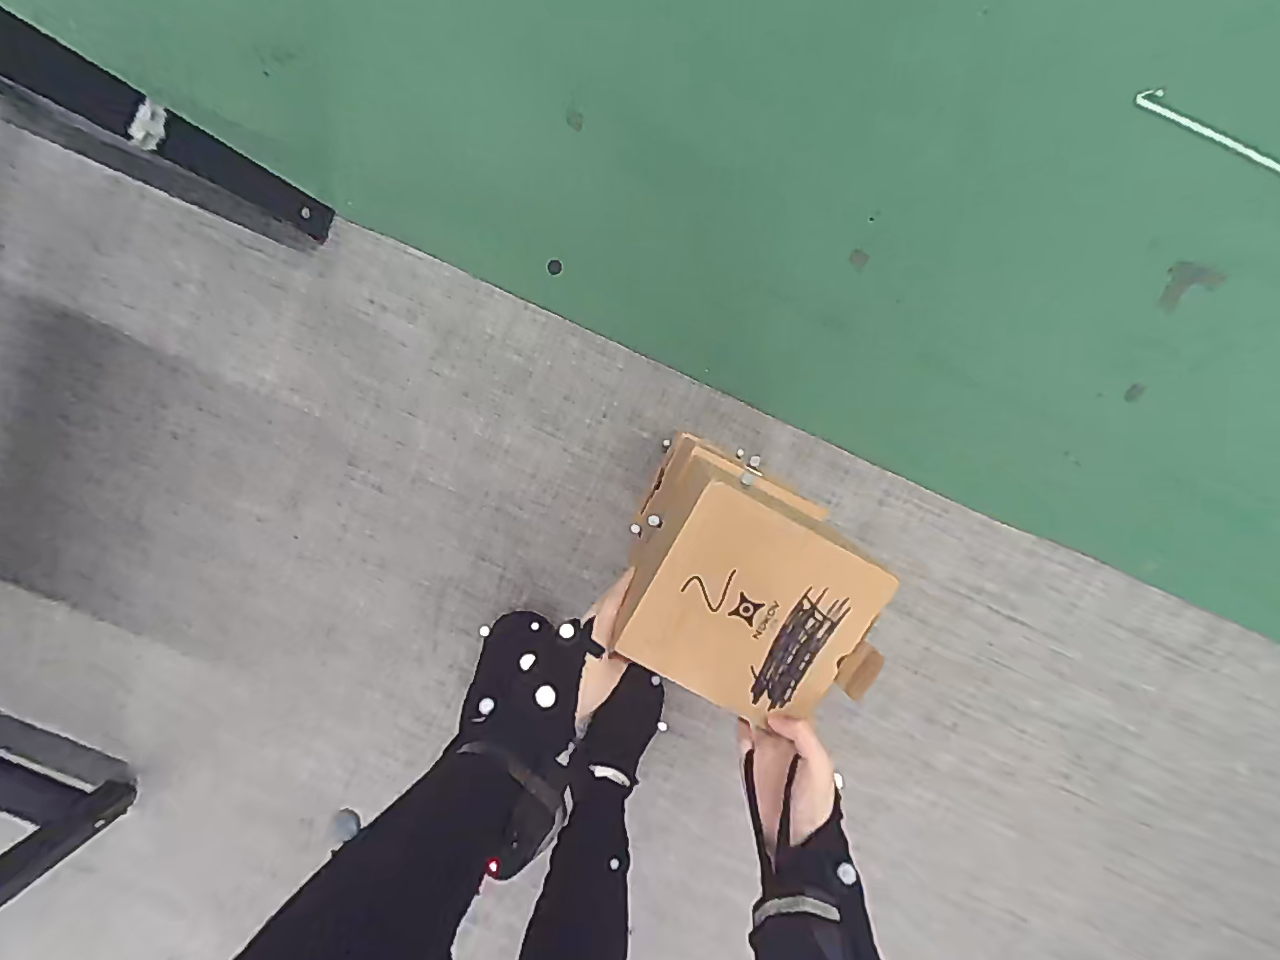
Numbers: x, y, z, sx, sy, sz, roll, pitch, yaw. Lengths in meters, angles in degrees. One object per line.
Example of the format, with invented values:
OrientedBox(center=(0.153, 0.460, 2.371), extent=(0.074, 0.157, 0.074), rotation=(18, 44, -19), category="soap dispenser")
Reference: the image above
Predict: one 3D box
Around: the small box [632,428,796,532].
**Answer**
OrientedBox(center=(0.103, 0.031, 0.825), extent=(0.179, 0.176, 0.168), rotation=(27, 98, -3), category="small box")

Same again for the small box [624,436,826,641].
OrientedBox(center=(0.094, 0.059, 0.666), extent=(0.168, 0.176, 0.179), rotation=(26, 97, -3), category="small box")
